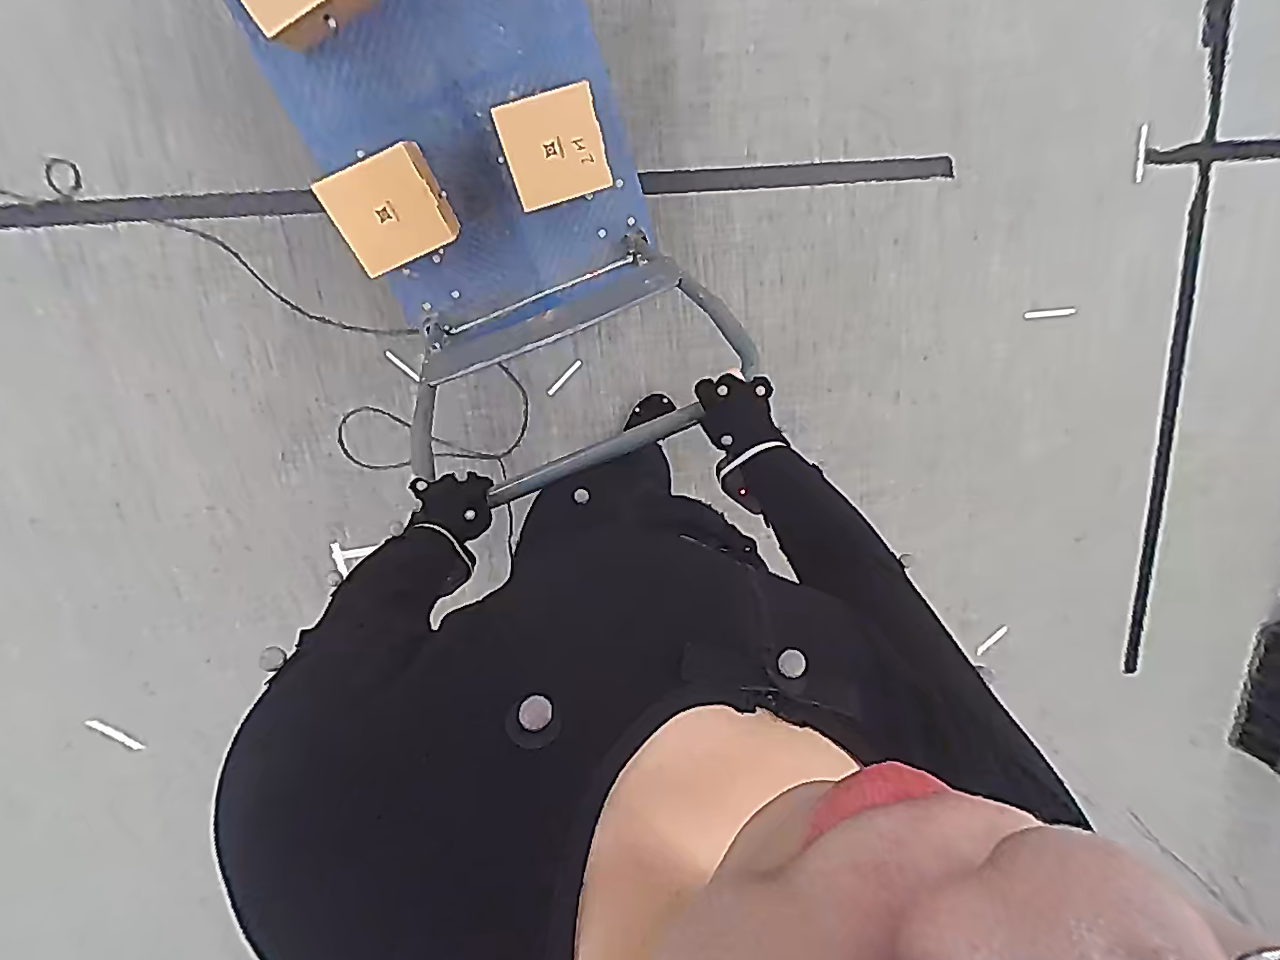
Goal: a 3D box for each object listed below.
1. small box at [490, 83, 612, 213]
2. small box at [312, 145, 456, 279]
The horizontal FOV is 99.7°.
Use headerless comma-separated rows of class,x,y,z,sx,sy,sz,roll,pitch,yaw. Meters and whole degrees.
small box,-0.167,-0.619,1.016,0.179,0.176,0.168,-19,124,-3
small box,-0.462,-0.501,1.011,0.179,0.176,0.168,-26,124,0
